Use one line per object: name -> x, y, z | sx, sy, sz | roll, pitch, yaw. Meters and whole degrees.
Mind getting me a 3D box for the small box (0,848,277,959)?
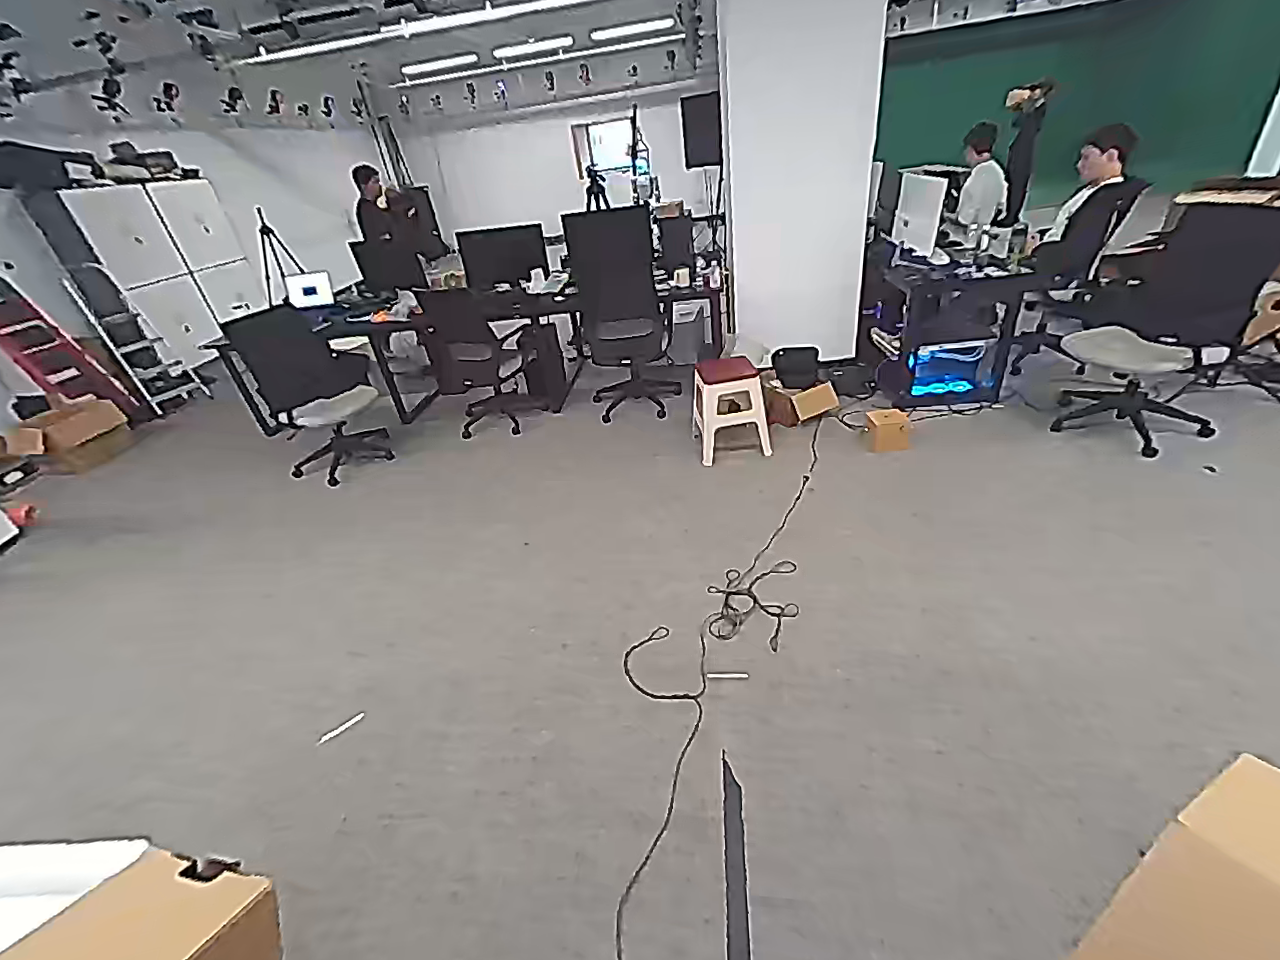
small box -> -0.449, 0.477, 0.473 | 0.168, 0.176, 0.179 | 1, 6, 15
